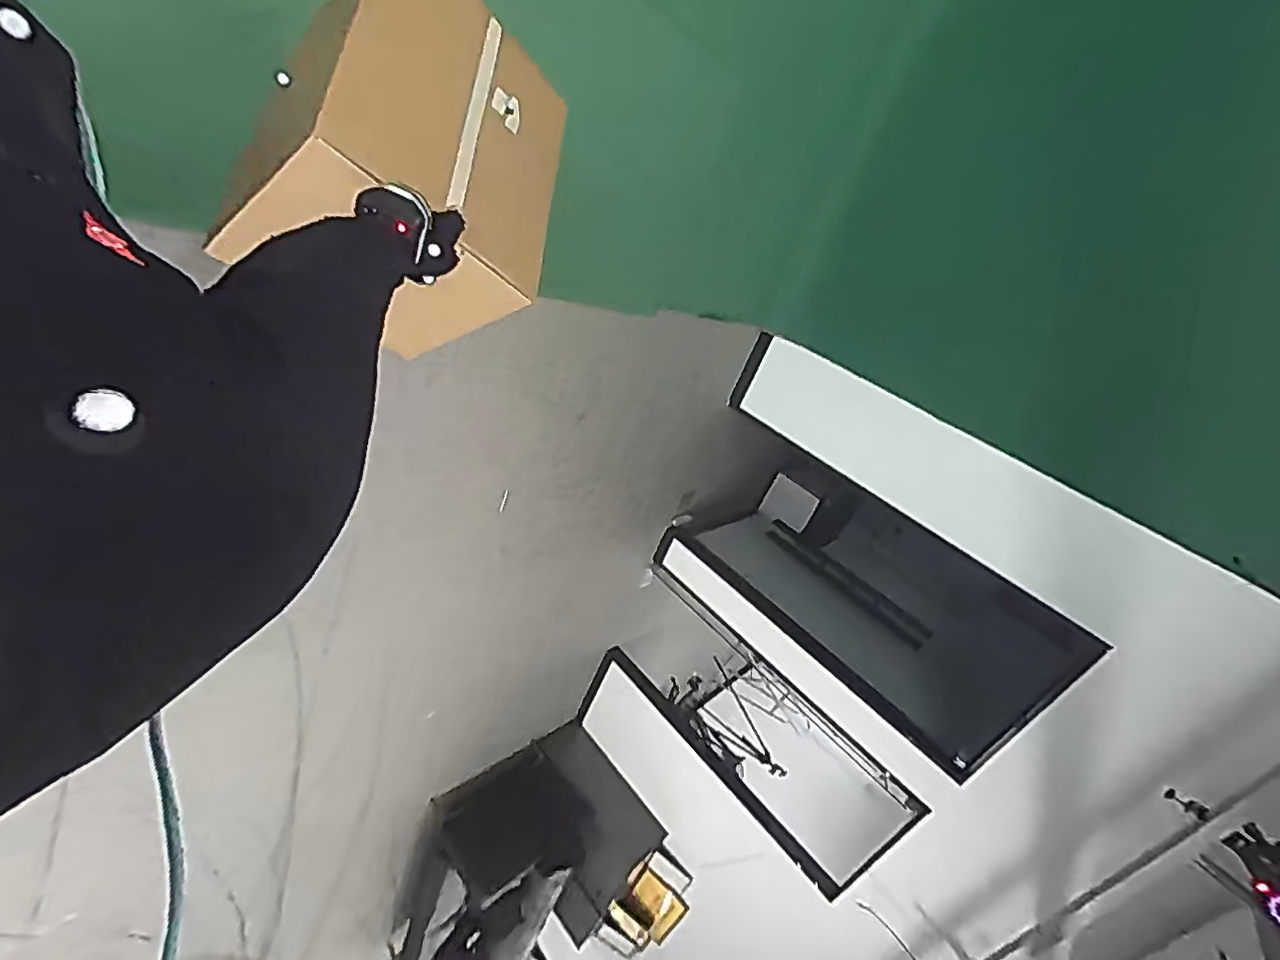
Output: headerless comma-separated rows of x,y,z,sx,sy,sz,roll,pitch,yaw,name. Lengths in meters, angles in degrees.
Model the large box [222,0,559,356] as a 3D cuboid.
-0.354,-0.466,0.820,0.320,0.320,0.408,28,59,-49,large box
